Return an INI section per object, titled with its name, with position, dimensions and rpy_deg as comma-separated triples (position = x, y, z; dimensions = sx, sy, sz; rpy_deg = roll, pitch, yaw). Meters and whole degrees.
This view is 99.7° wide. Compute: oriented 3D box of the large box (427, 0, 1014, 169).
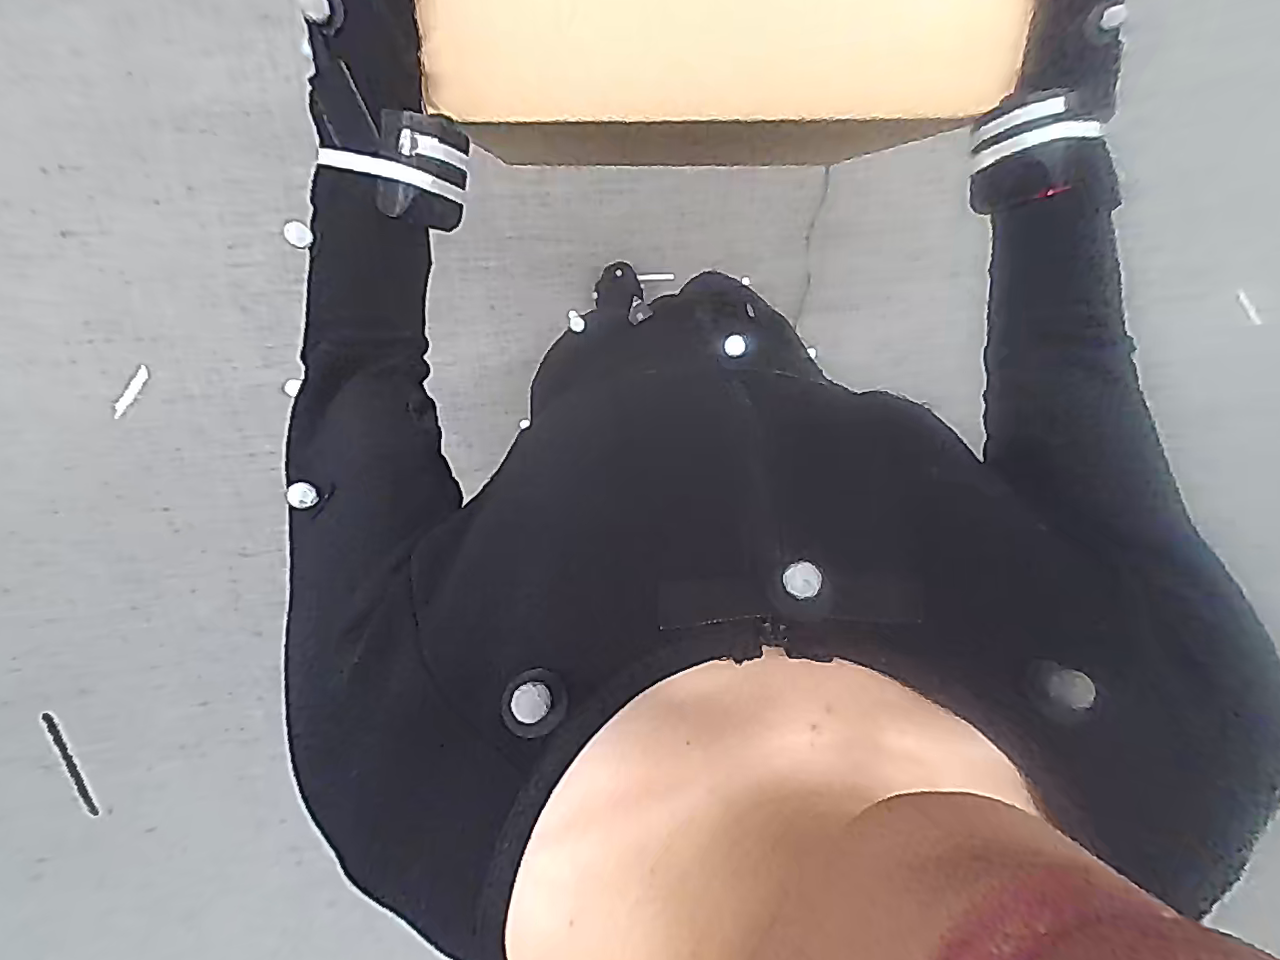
[large box]
position = 0.045, -0.463, 0.458
dimensions = 0.408, 0.320, 0.320
rpy_deg = -2, 115, -3
